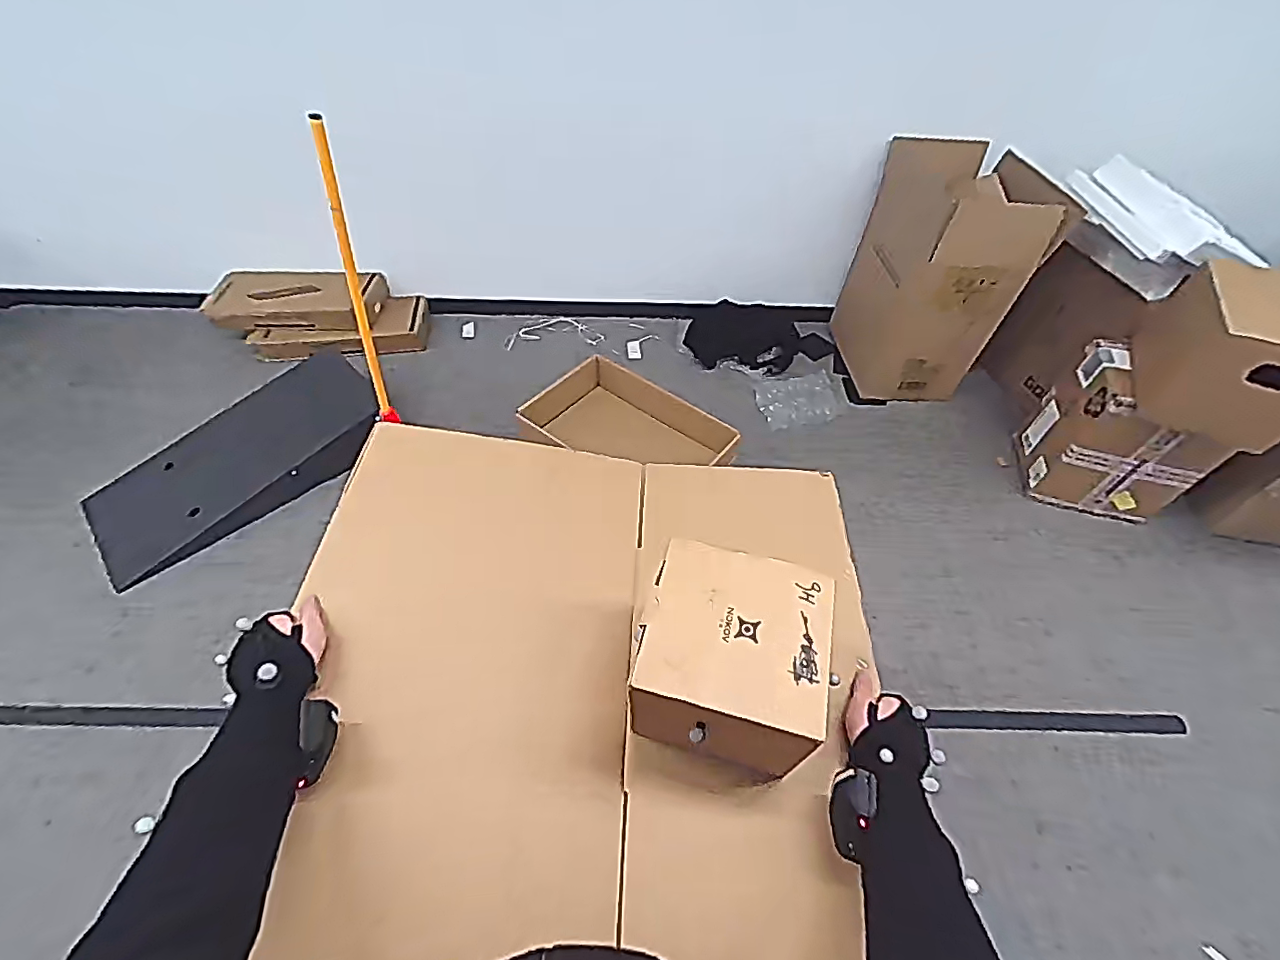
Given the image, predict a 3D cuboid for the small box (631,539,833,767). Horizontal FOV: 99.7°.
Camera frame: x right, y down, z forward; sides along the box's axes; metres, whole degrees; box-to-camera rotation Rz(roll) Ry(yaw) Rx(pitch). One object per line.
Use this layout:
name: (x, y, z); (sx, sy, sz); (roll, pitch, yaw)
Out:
small box: (0.097, 0.192, 0.589); (0.179, 0.176, 0.168); (12, 53, 10)
